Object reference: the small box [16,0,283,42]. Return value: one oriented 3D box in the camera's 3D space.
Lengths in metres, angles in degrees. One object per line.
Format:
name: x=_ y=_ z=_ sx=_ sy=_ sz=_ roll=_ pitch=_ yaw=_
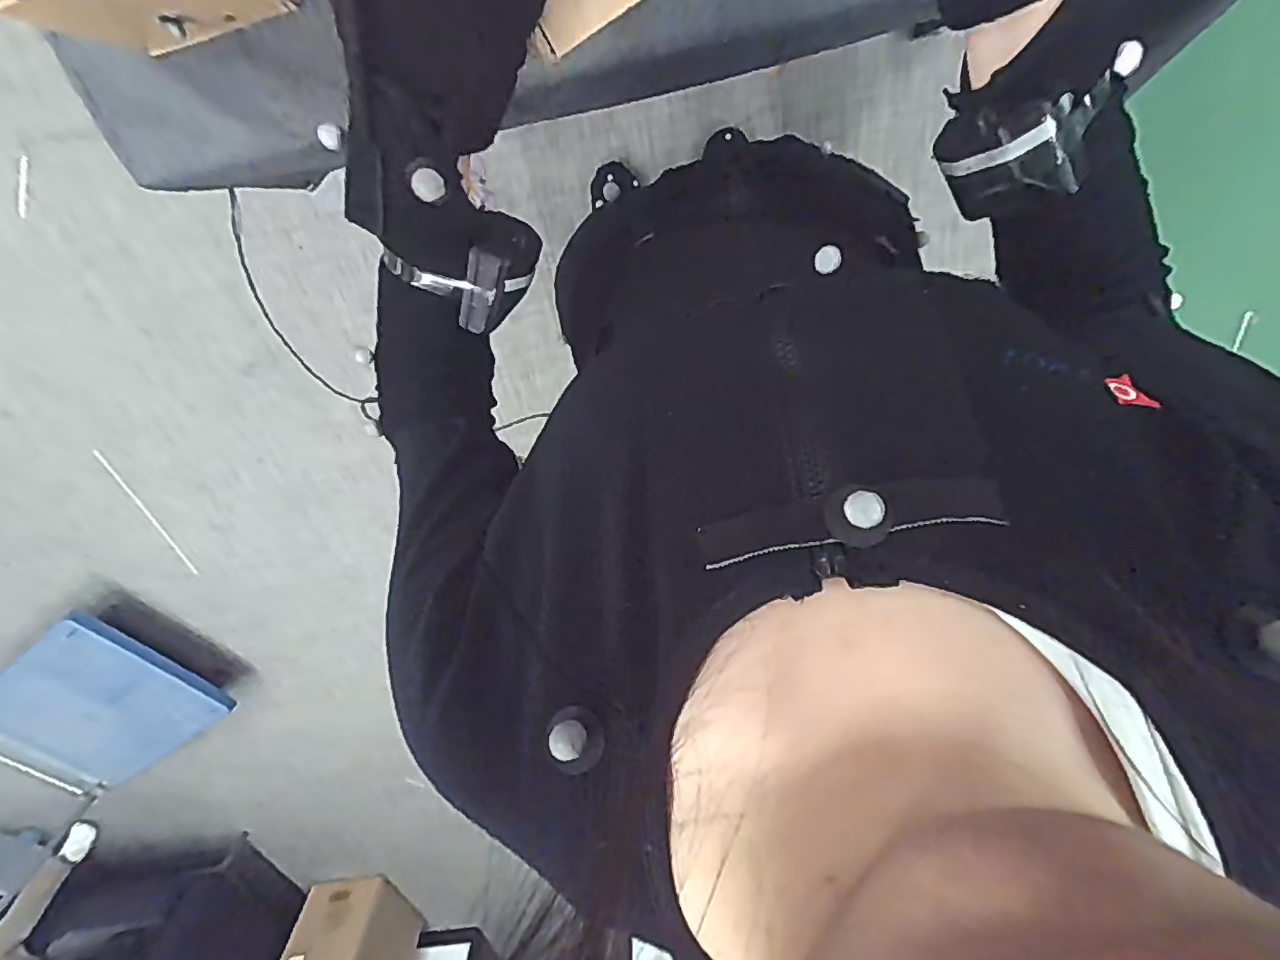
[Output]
small box: x=-0.422 y=-0.473 z=0.408 sx=0.168 sy=0.176 sz=0.179 roll=-12 pitch=120 yaw=6
